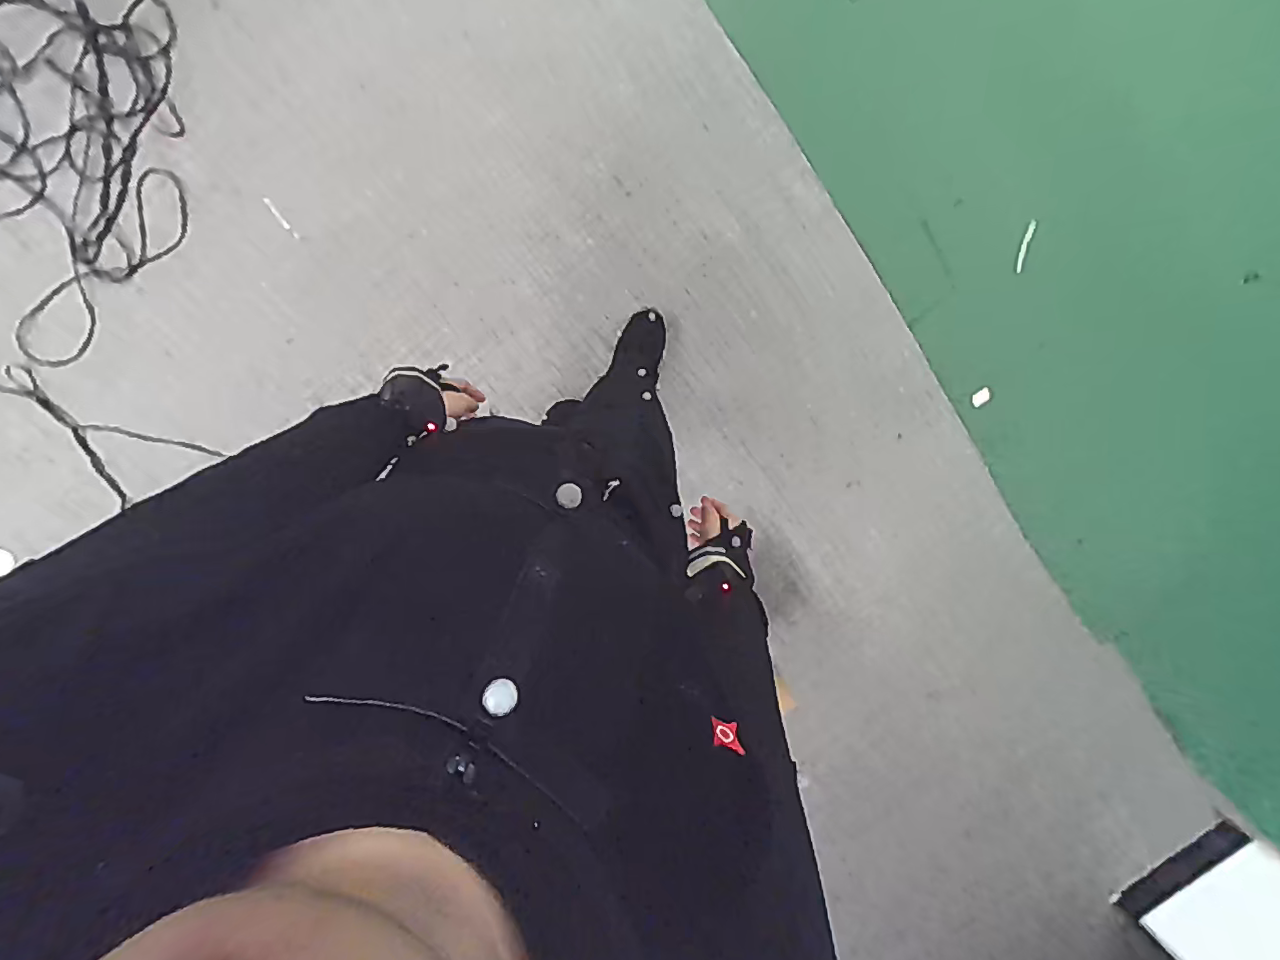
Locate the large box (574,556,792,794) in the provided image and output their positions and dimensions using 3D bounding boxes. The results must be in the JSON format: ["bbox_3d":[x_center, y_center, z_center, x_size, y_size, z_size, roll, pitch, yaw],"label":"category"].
[{"bbox_3d":[0.089,0.457,1.333,0.408,0.320,0.320,-32,104,3],"label":"large box"}]
